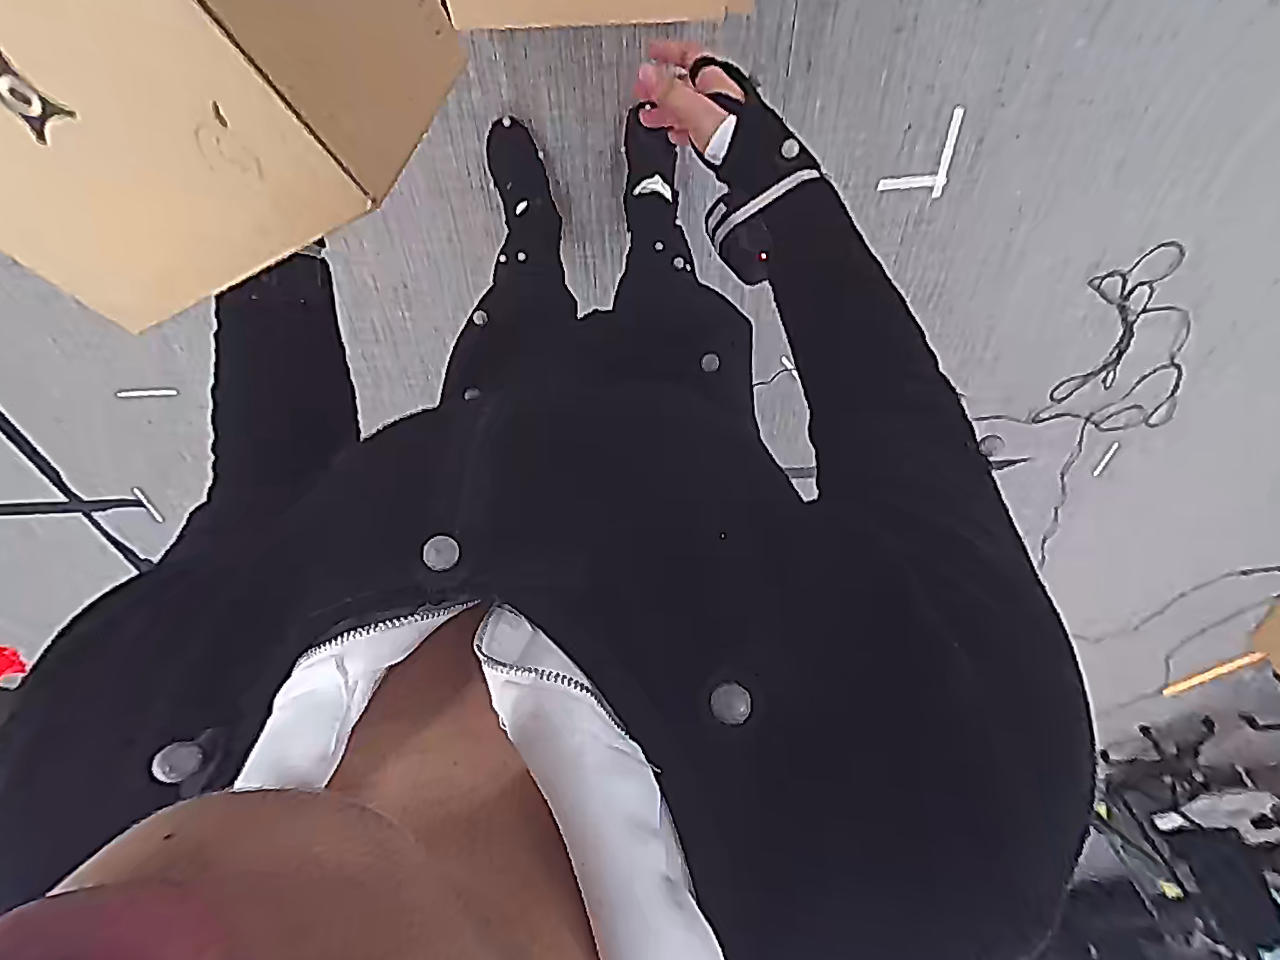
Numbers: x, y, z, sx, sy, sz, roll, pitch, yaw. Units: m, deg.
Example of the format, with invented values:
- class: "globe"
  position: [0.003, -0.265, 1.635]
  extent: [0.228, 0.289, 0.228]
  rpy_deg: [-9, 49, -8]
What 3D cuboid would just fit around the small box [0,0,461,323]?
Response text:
- class: "small box"
  position: [-0.207, -0.210, 0.239]
  extent: [0.168, 0.176, 0.179]
  rpy_deg: [-14, 141, 20]
